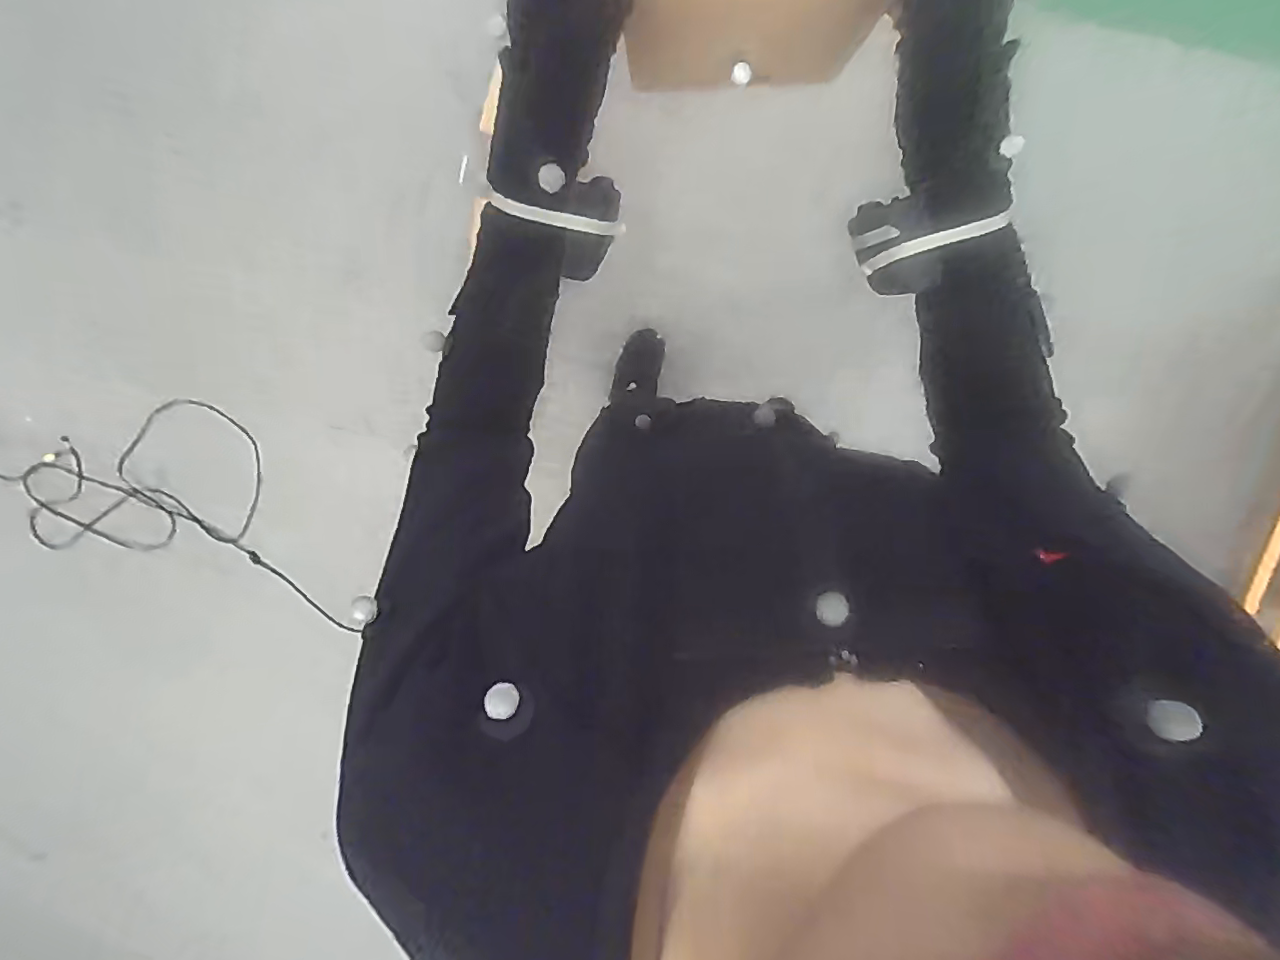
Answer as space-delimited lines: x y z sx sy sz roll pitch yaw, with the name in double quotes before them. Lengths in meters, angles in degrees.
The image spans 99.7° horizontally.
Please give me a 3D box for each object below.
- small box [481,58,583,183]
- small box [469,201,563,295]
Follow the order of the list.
"small box" -0.247 -0.834 1.274 0.179 0.176 0.168 19 99 -1
"small box" -0.296 -0.557 1.320 0.179 0.176 0.168 9 101 -1
